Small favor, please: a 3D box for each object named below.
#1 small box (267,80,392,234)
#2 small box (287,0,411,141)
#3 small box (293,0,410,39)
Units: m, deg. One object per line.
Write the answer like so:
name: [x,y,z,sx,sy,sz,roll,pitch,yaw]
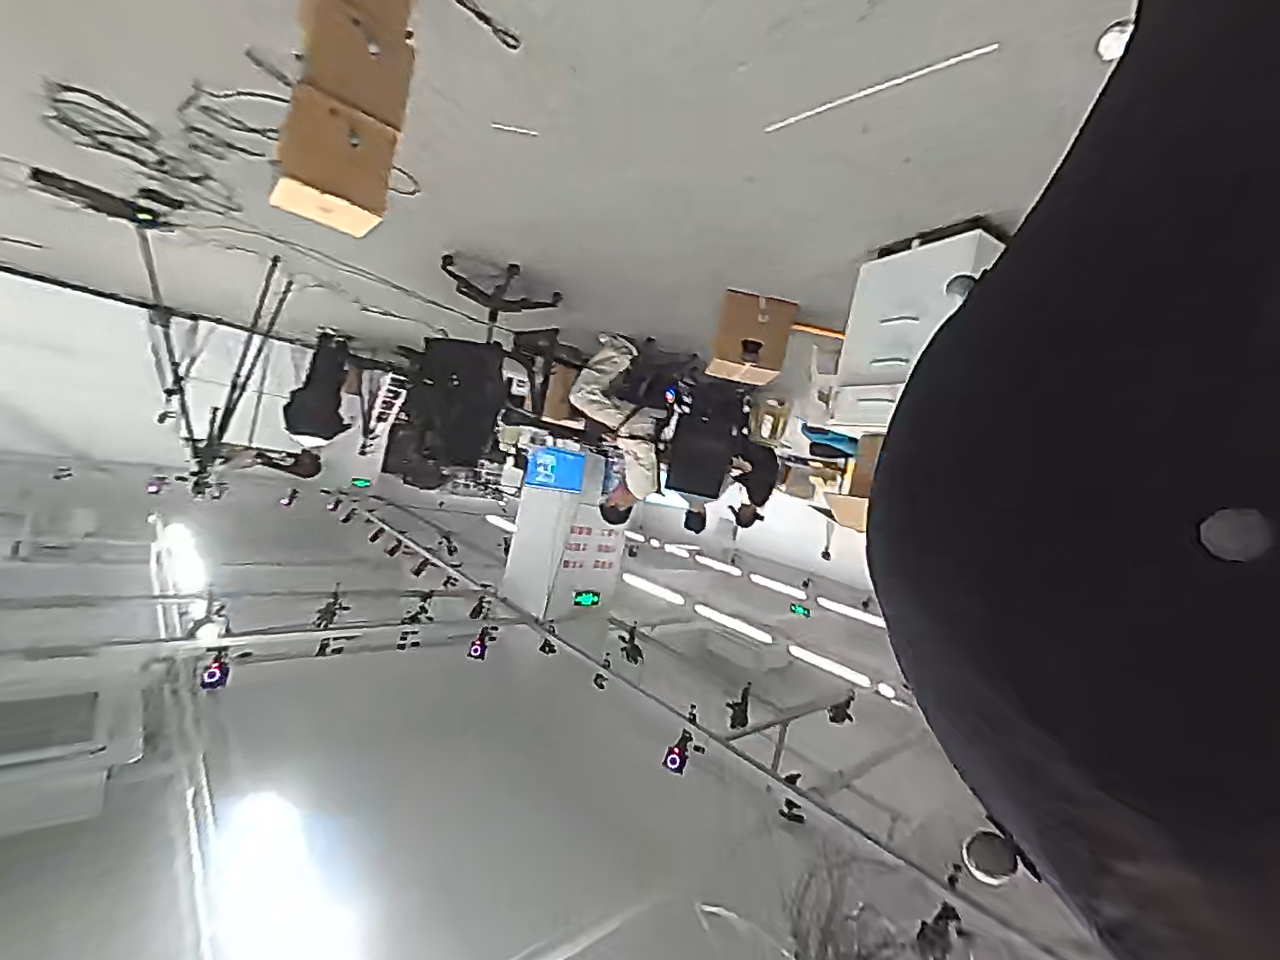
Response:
small box: [-0.587,-0.601,1.025,0.168,0.176,0.179,10,-179,-40]
small box: [-0.553,-0.760,1.029,0.168,0.176,0.179,10,-179,-41]
small box: [-0.536,-0.923,1.017,0.168,0.176,0.179,12,-178,-37]
